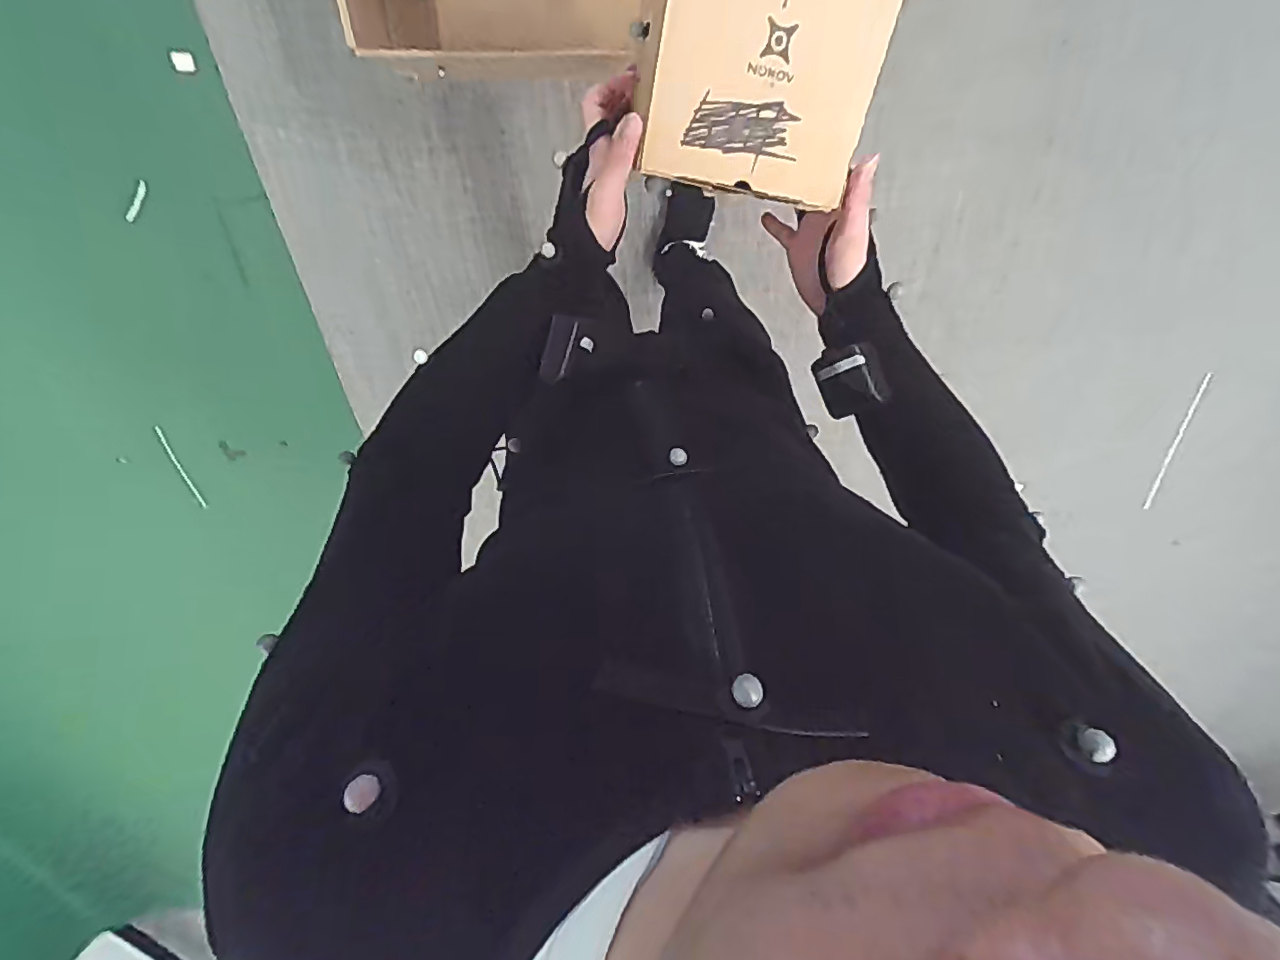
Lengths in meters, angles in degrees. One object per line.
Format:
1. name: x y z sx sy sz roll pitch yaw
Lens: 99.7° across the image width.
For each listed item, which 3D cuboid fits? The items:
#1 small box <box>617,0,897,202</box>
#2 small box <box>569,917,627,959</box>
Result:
1. small box: 0.078 -0.343 0.438 0.168 0.176 0.179 5 120 -12
2. small box: -0.137 1.588 1.795 0.168 0.176 0.179 -5 121 4
